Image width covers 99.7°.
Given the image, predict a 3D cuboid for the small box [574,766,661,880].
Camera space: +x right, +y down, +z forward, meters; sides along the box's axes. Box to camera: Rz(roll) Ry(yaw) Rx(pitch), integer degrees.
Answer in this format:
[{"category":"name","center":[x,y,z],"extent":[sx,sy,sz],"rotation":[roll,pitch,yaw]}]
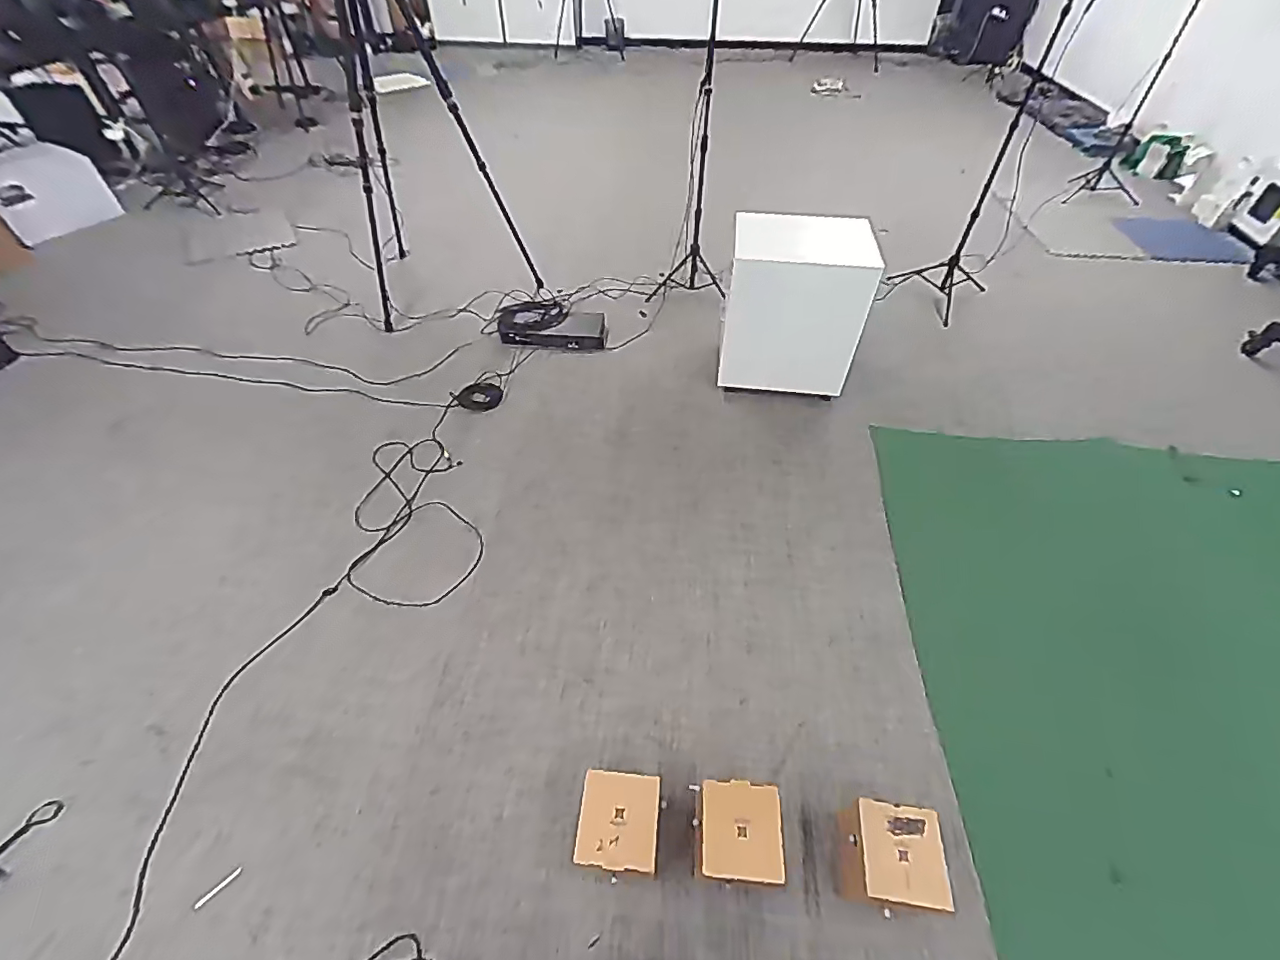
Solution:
[{"category":"small box","center":[-0.044,0.756,1.191],"extent":[0.168,0.176,0.179],"rotation":[4,48,4]}]

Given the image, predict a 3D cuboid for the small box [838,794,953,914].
[{"category":"small box","center":[0.535,0.804,1.160],"extent":[0.168,0.176,0.179],"rotation":[7,49,6]}]

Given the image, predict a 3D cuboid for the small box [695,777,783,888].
[{"category":"small box","center":[0.210,0.774,1.183],"extent":[0.168,0.176,0.179],"rotation":[4,48,2]}]
